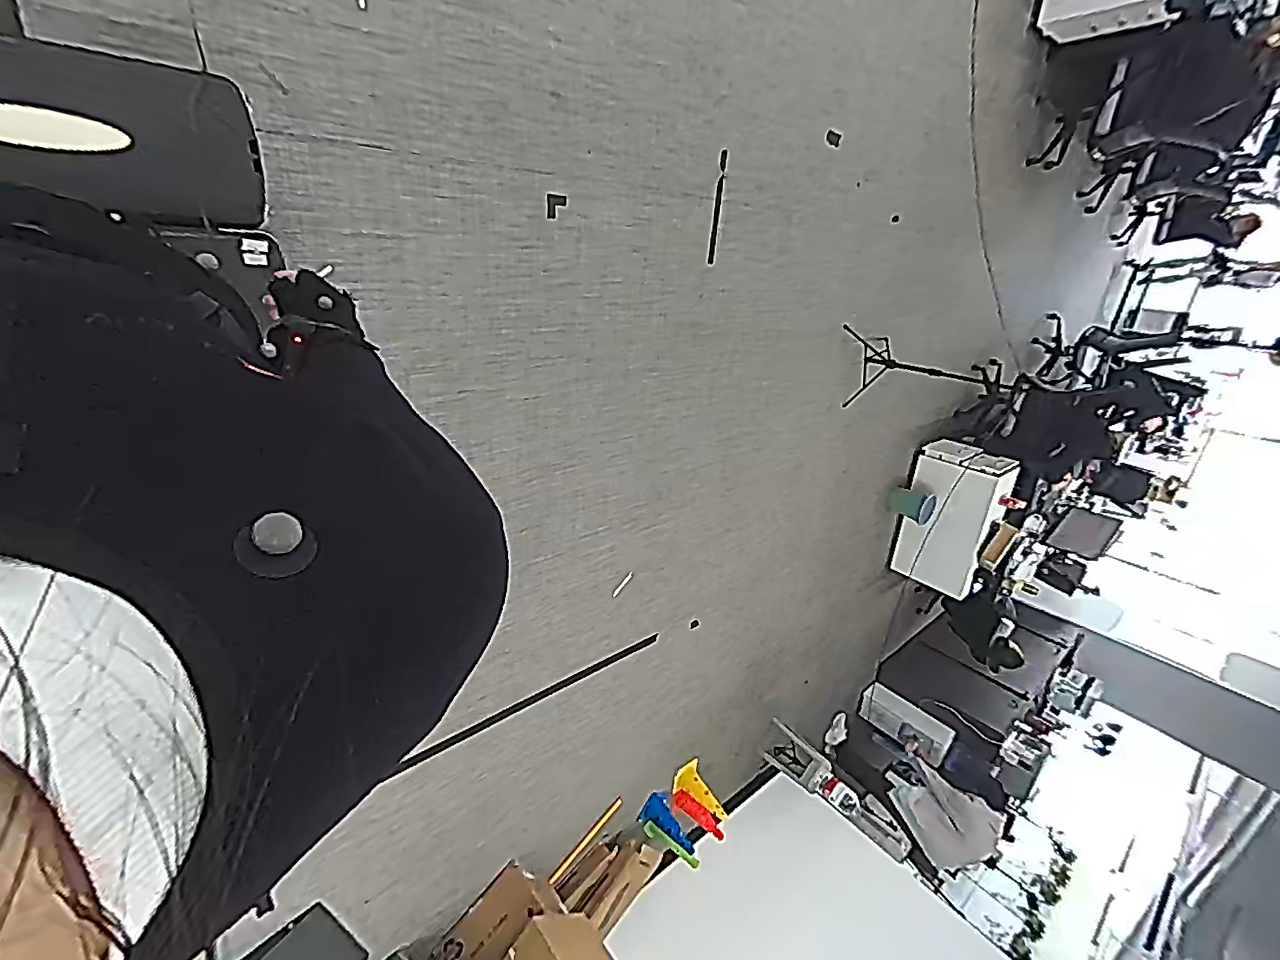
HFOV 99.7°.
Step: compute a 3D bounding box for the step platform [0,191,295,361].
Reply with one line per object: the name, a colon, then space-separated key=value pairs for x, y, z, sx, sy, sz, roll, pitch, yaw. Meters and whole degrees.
step platform: x=-1.075 y=-0.391 z=1.046 sx=0.684 sy=0.204 sz=0.286 roll=-15 pitch=118 yaw=-36
